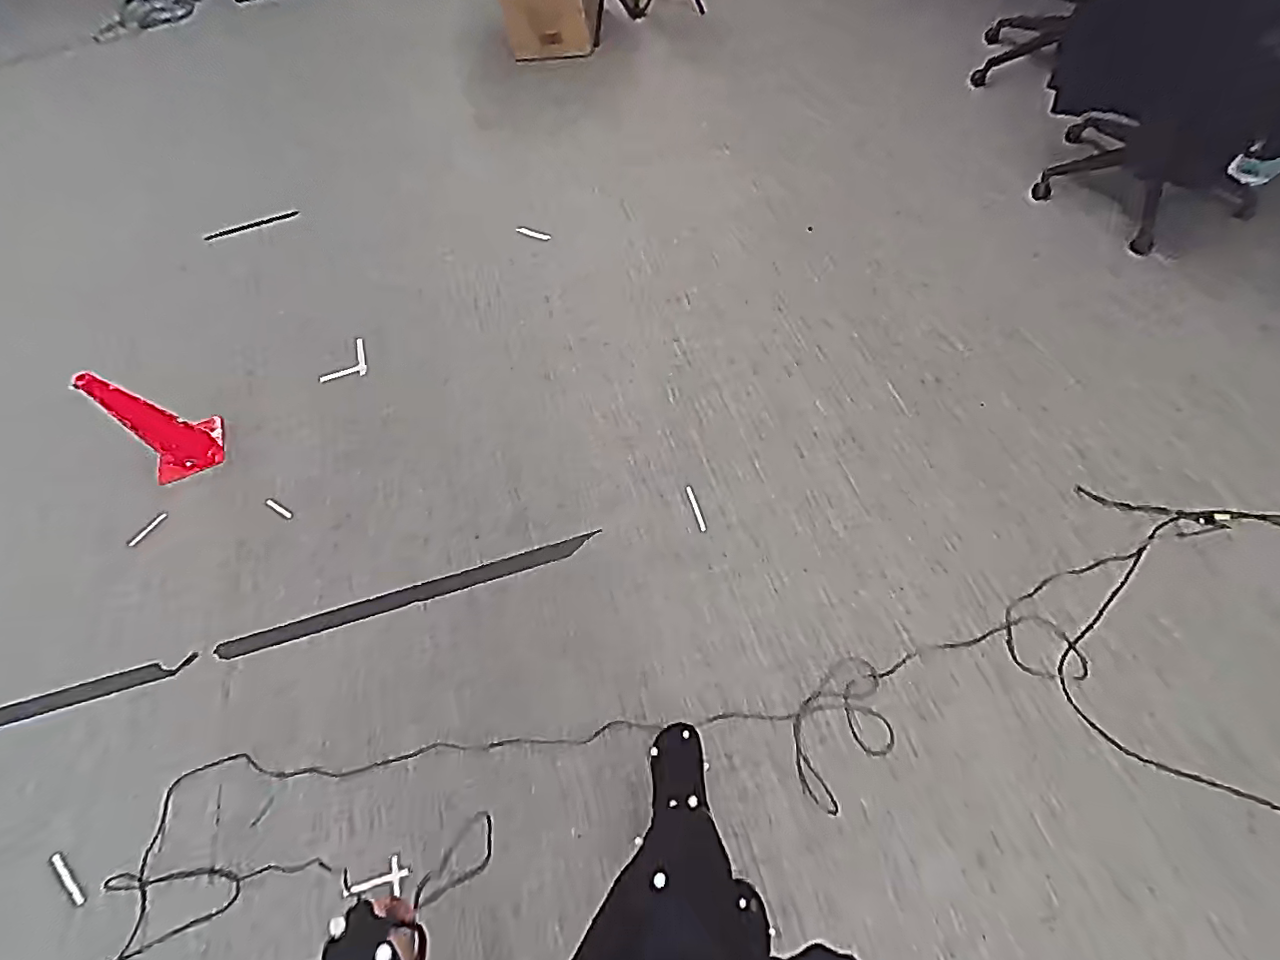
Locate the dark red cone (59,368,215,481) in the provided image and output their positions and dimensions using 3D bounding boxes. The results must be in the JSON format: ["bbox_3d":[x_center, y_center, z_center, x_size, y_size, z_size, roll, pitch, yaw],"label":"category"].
[{"bbox_3d":[-1.447,-0.177,1.545,0.202,0.394,0.201,-24,62,-7],"label":"dark red cone"}]
